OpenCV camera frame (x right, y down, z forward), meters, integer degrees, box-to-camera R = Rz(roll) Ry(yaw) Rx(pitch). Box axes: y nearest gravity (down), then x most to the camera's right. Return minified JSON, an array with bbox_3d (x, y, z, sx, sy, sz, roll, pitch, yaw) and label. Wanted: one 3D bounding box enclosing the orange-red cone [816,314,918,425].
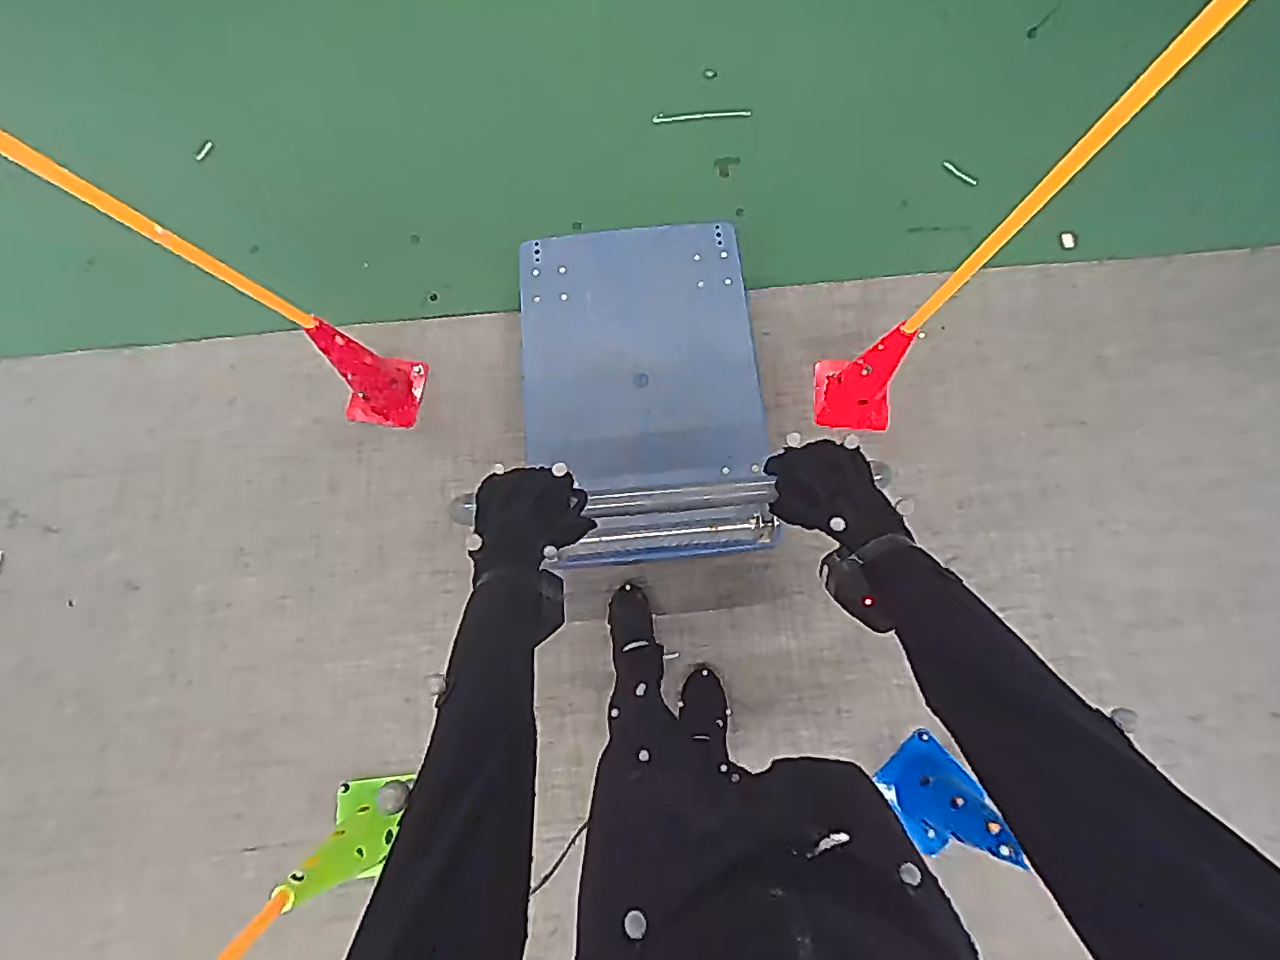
[{"bbox_3d":[0.579,-0.291,1.315,0.198,0.360,0.199,6,76,3],"label":"orange-red cone"}]
